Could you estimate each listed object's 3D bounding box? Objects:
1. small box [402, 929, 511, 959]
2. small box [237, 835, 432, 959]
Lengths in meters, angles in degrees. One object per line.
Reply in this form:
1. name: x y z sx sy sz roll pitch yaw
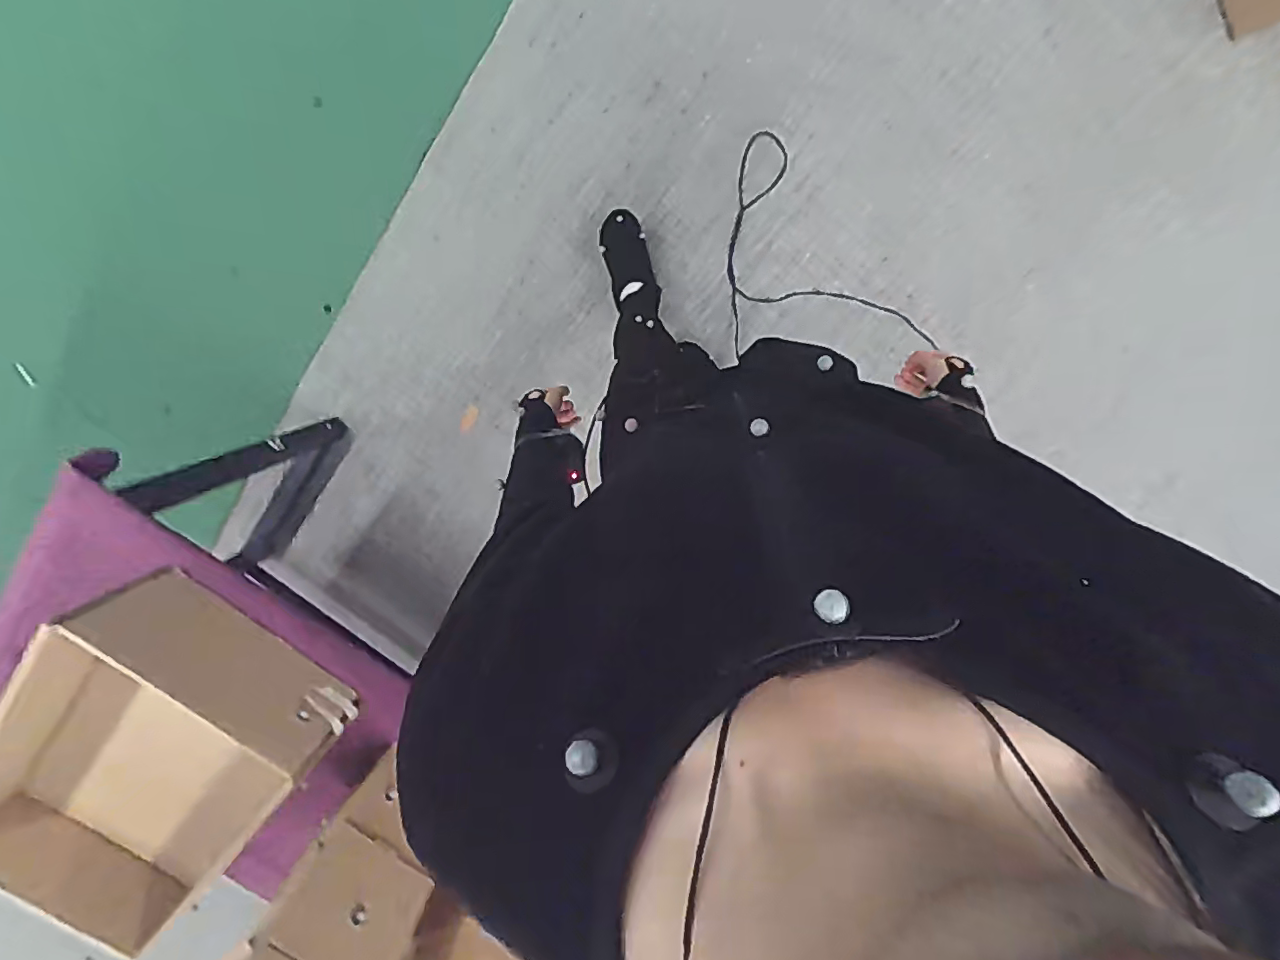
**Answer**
1. small box: -0.293 0.830 0.820 0.168 0.176 0.179 -36 102 14
2. small box: -0.442 0.656 0.776 0.179 0.176 0.168 40 108 -8
